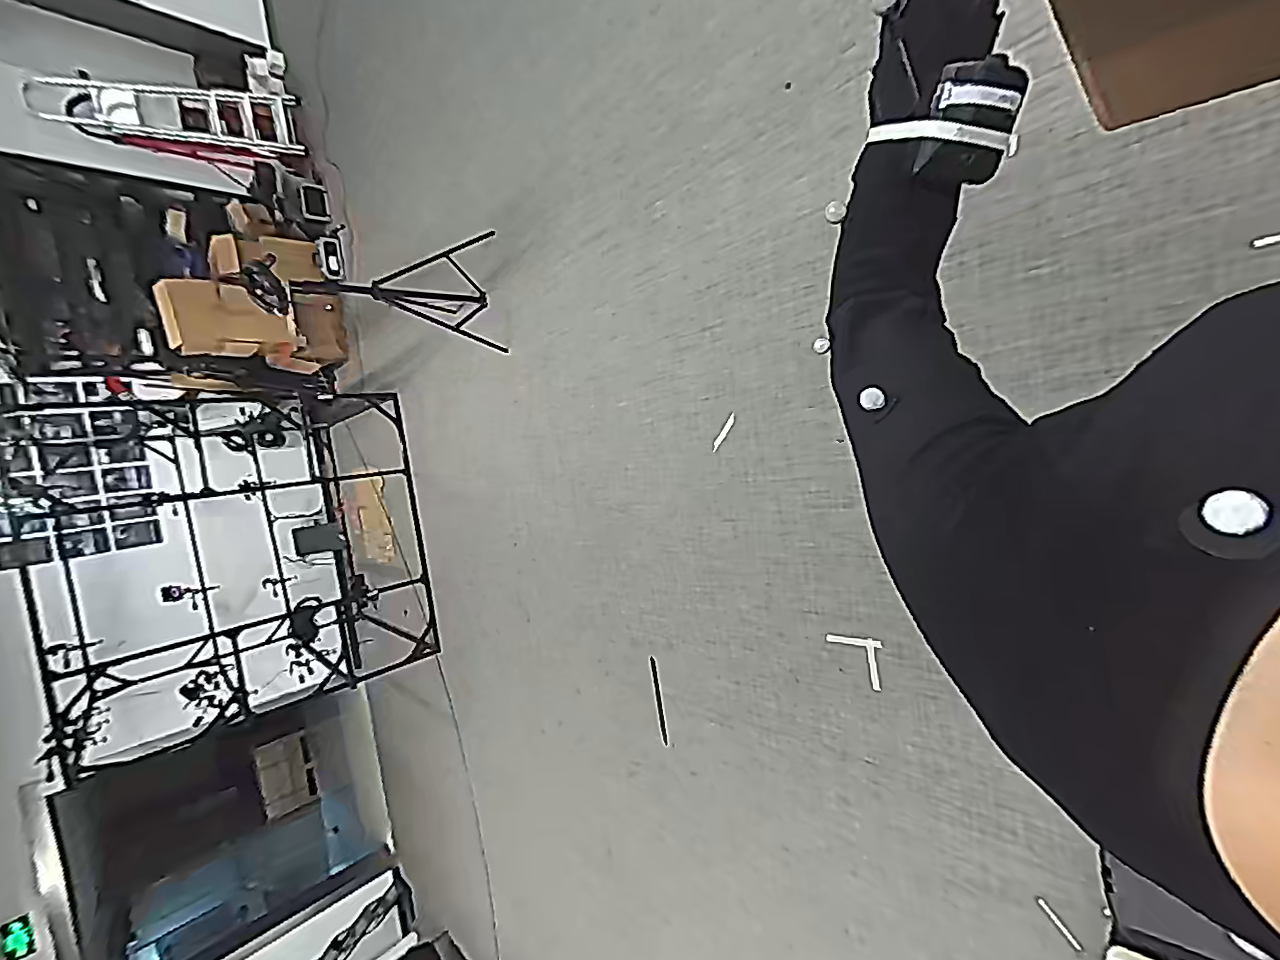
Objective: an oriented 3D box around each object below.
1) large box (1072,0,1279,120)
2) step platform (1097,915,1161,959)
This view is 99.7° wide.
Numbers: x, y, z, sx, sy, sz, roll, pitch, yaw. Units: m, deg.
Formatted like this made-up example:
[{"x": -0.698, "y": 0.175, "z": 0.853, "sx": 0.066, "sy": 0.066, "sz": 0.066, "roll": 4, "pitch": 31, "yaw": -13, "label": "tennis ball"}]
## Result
[{"x": 0.472, "y": -0.463, "z": 0.260, "sx": 0.408, "sy": 0.320, "sz": 0.320, "roll": 3, "pitch": 102, "yaw": 45, "label": "large box"}, {"x": 1.275, "y": 1.138, "z": 0.984, "sx": 0.684, "sy": 0.204, "sz": 0.286, "roll": -8, "pitch": 92, "yaw": 49, "label": "step platform"}]
